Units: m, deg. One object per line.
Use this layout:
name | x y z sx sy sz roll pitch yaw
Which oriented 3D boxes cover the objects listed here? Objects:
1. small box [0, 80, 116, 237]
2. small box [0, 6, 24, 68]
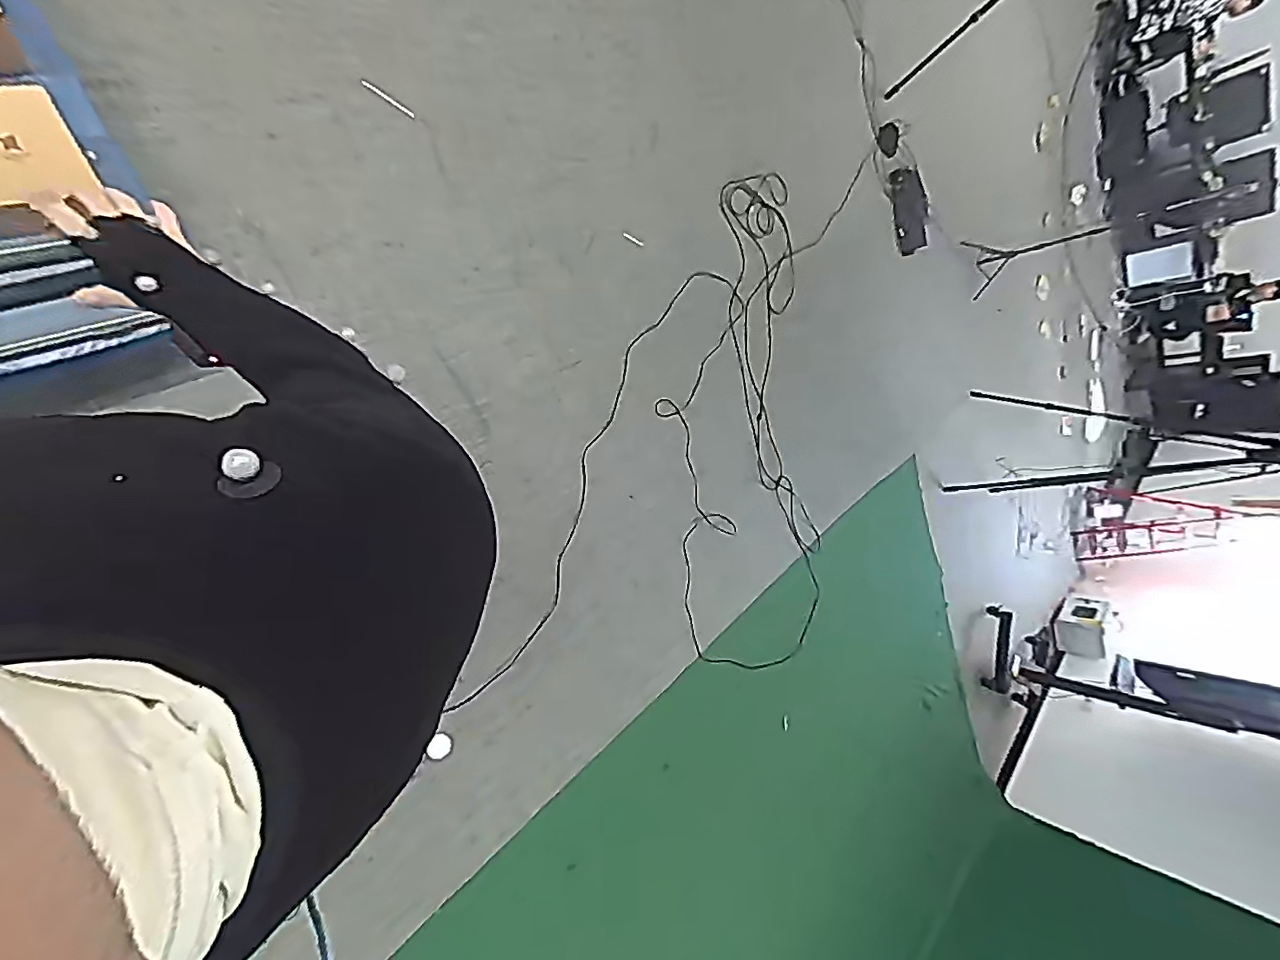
small box | -1.065 -0.549 0.935 0.168 0.176 0.179 -32 111 -32
small box | -1.156 -0.789 0.852 0.168 0.176 0.179 -37 114 -30
